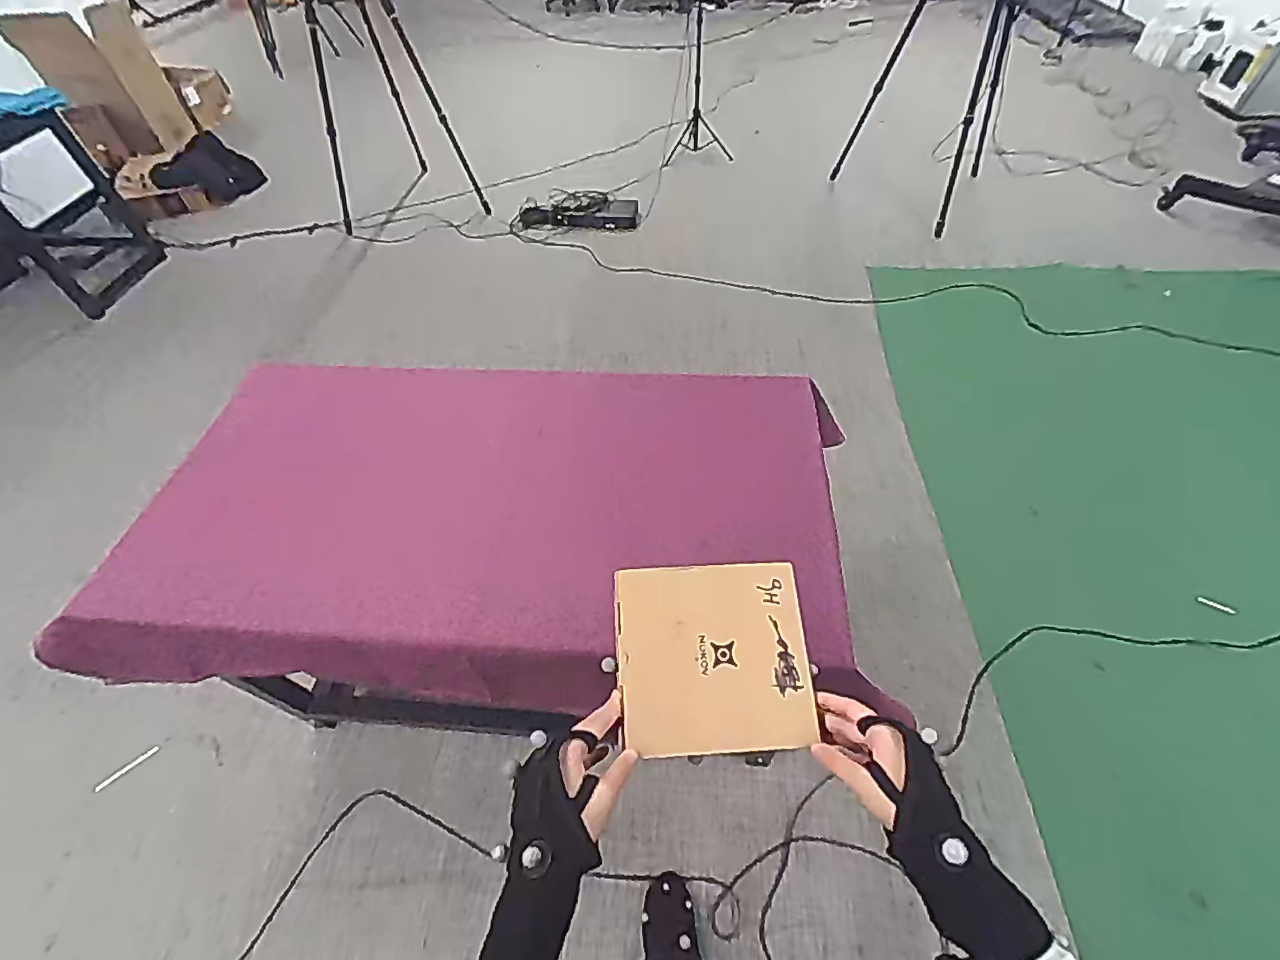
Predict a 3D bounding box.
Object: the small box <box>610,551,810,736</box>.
[{"bbox_3d":[0.060,0.180,0.576,0.179,0.176,0.168,-2,67,-2],"label":"small box"}]
